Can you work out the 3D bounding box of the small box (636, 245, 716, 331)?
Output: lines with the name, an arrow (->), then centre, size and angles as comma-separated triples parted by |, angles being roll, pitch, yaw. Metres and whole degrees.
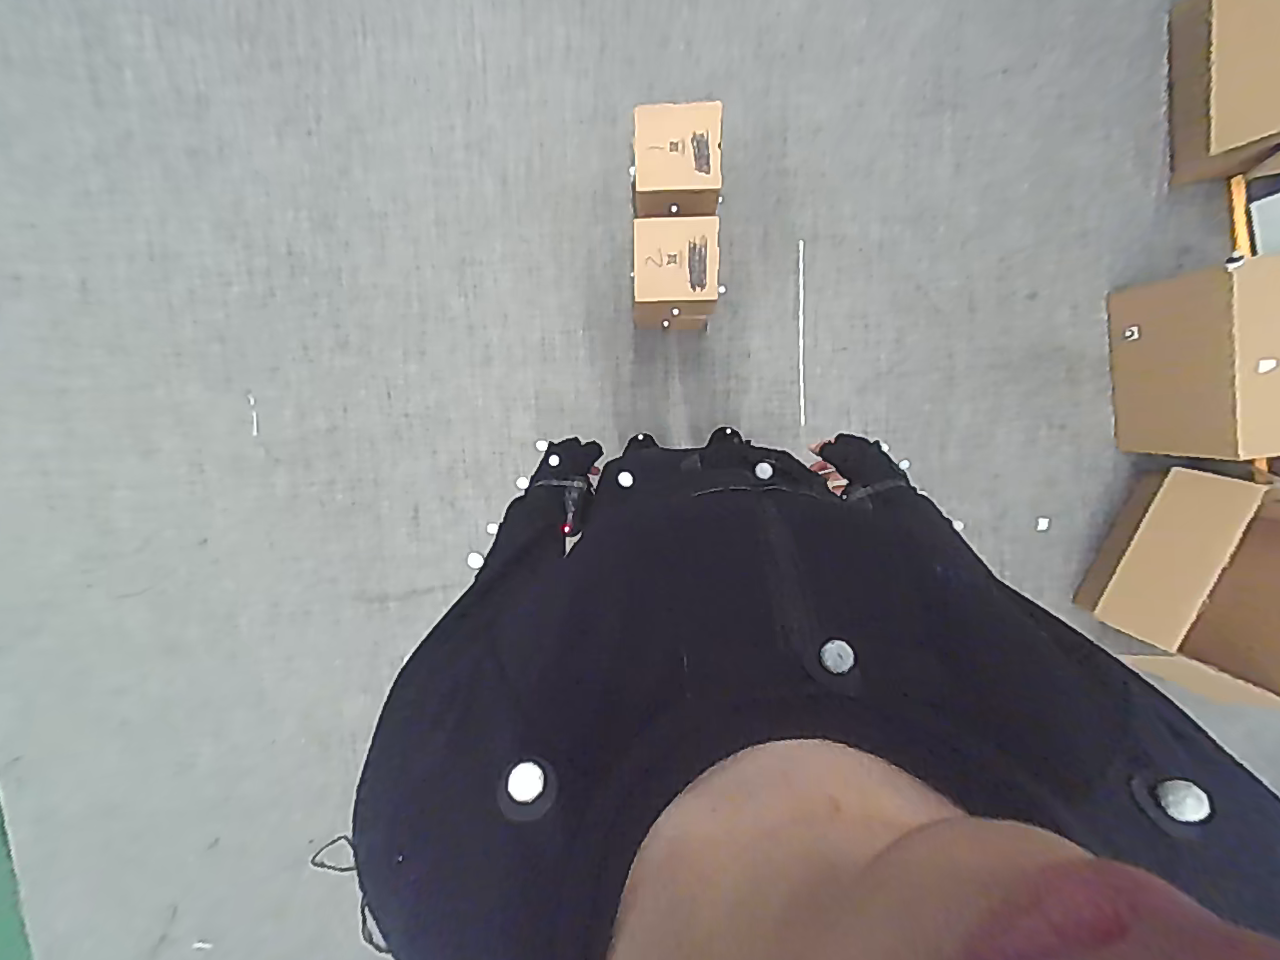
small box -> 0.087, -0.469, 1.339 | 0.179, 0.176, 0.168 | 4, 97, 3
